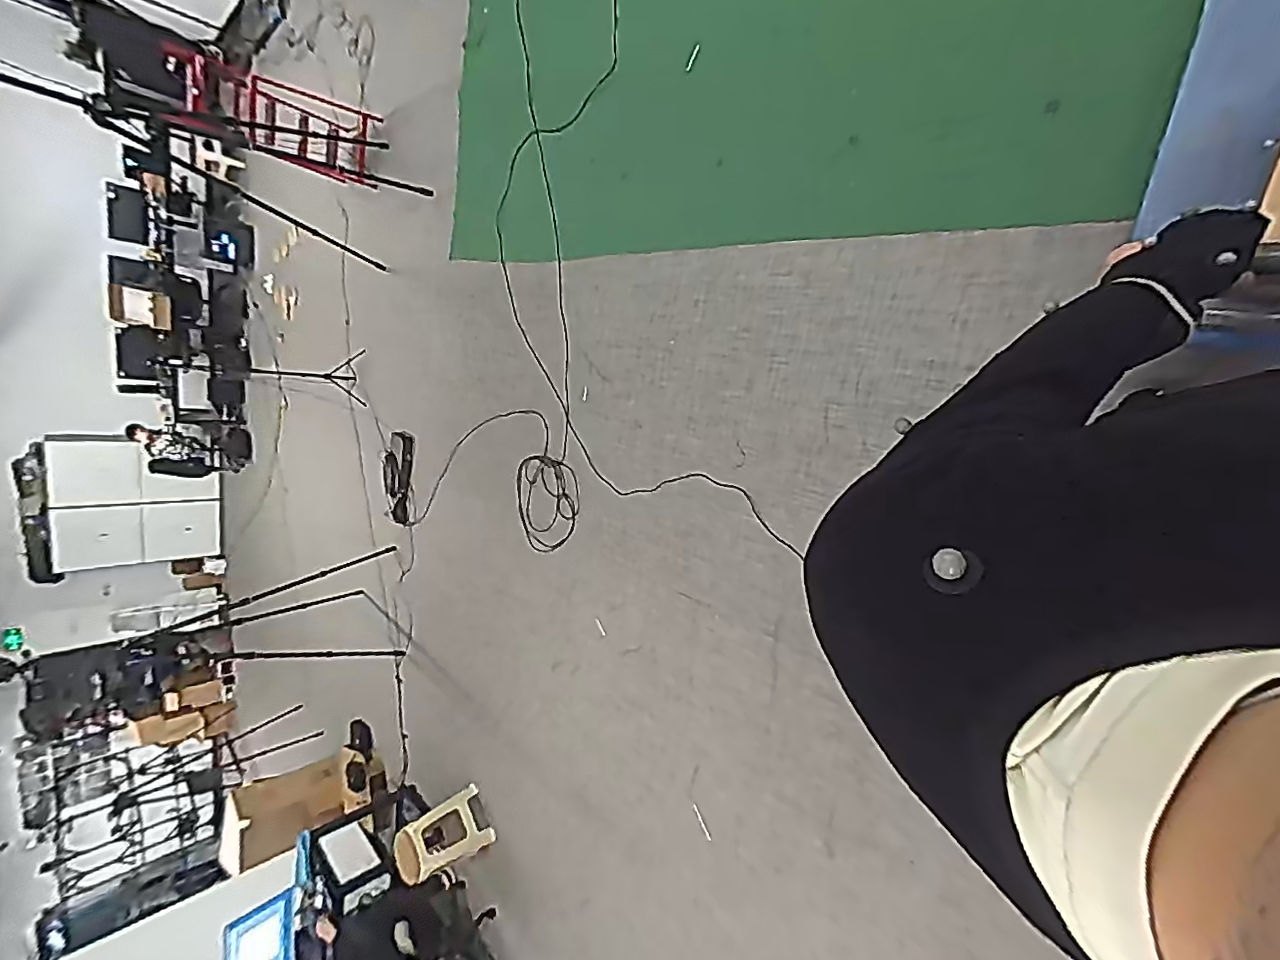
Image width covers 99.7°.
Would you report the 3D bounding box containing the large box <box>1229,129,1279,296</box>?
[{"bbox_3d":[1.132,-0.499,0.769,0.320,0.320,0.408,19,104,40],"label":"large box"}]
